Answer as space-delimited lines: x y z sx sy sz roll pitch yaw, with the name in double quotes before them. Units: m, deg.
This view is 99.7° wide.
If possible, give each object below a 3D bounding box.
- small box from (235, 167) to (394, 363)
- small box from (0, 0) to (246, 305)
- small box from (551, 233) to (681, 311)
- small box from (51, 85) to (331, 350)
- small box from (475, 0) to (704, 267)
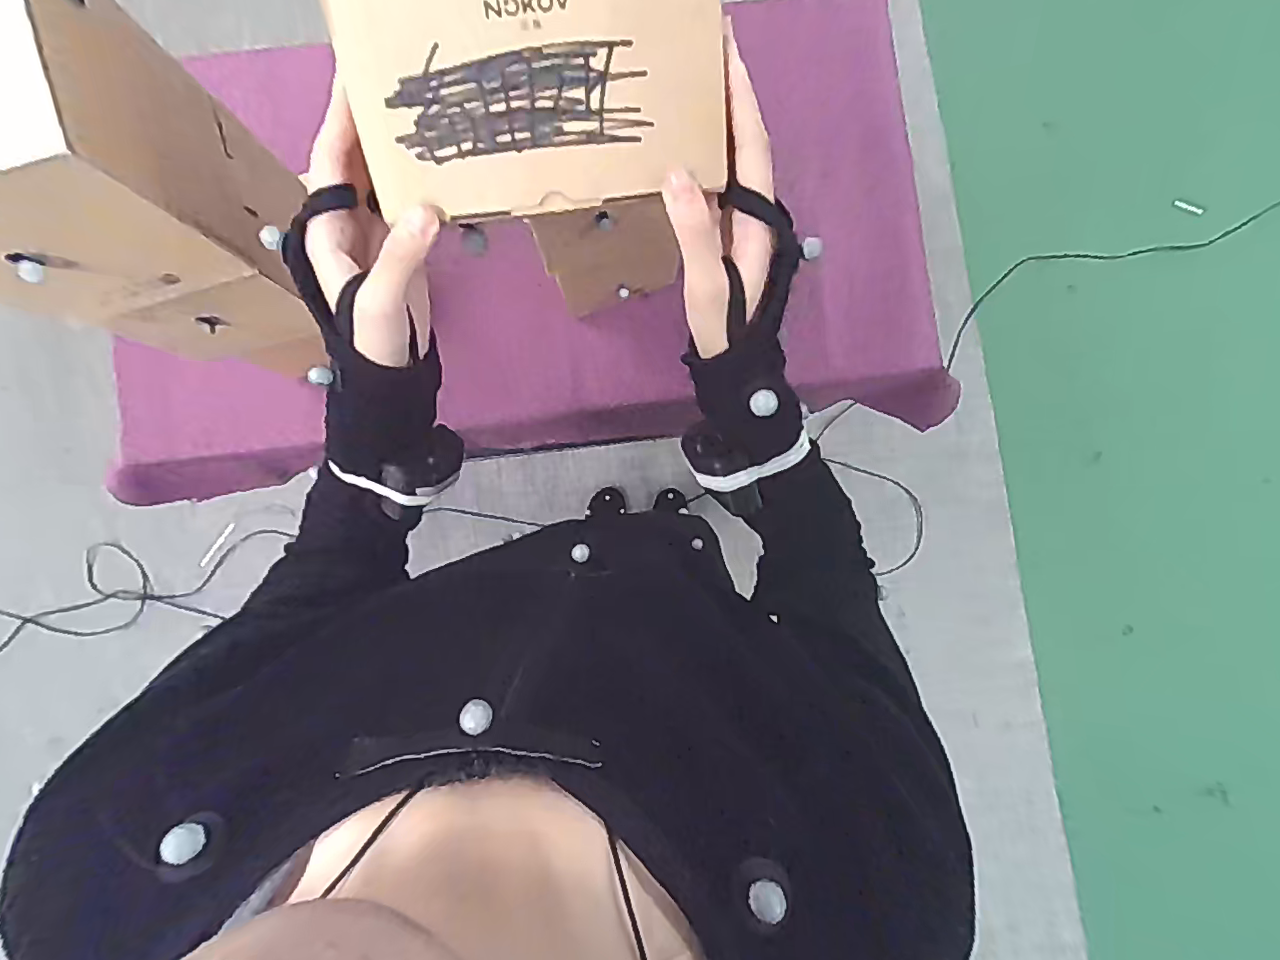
"small box" -0.450 -0.266 0.714 0.168 0.176 0.179 -13 87 -2
"small box" -0.430 -0.244 0.387 0.168 0.176 0.179 -18 87 -2
"small box" -0.054 -0.356 0.723 0.168 0.176 0.179 -20 88 -1
"small box" -0.445 -0.247 0.549 0.179 0.176 0.168 -14 88 -2
"small box" -0.045 -0.345 0.558 0.179 0.176 0.168 -15 88 -1
